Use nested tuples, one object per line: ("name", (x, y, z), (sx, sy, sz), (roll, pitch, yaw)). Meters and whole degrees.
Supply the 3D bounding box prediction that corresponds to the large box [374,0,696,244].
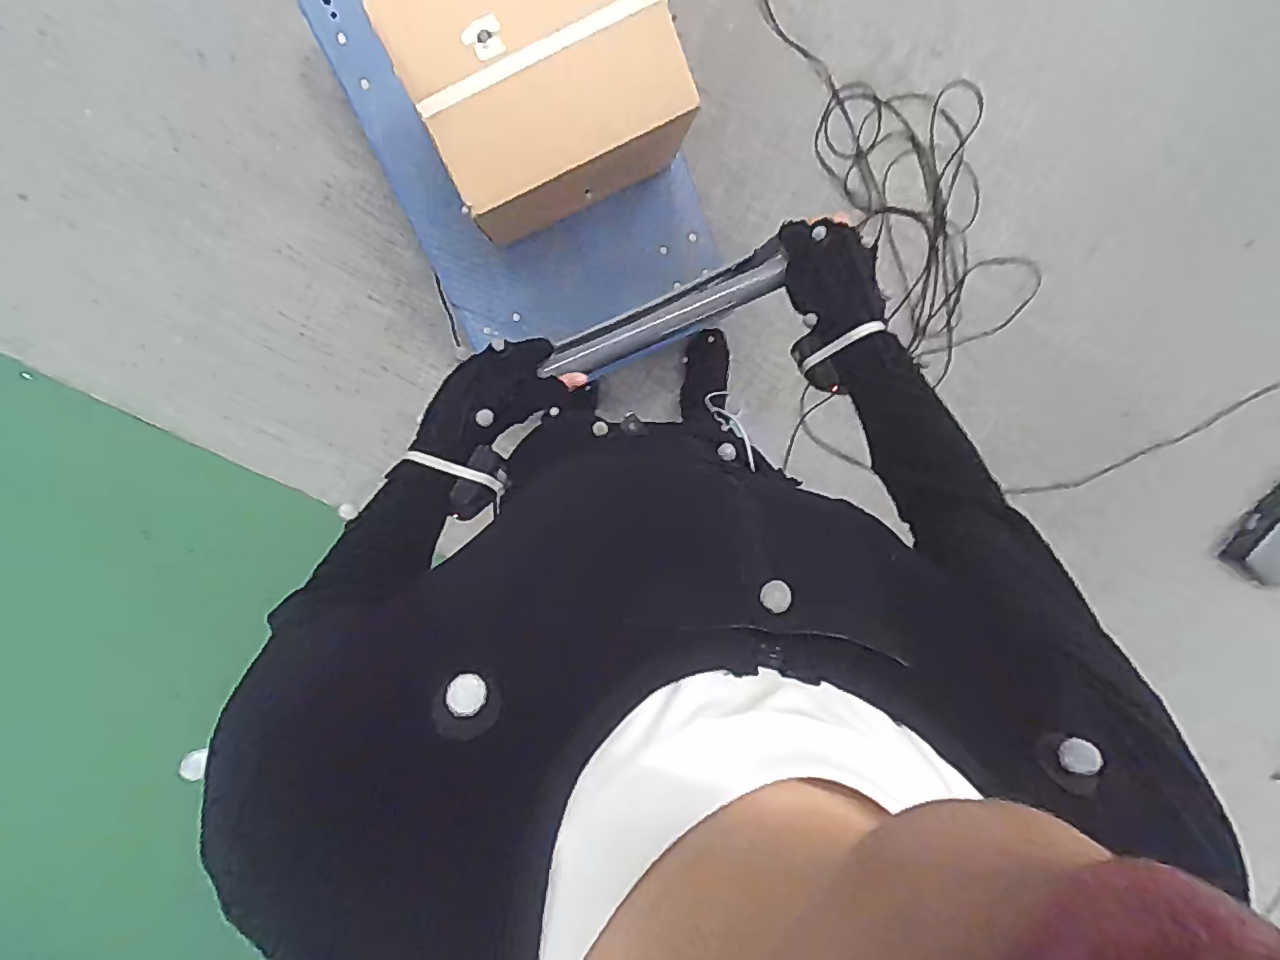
("large box", (-0.162, -0.677, 0.965), (0.408, 0.320, 0.320), (-26, 105, 2))
